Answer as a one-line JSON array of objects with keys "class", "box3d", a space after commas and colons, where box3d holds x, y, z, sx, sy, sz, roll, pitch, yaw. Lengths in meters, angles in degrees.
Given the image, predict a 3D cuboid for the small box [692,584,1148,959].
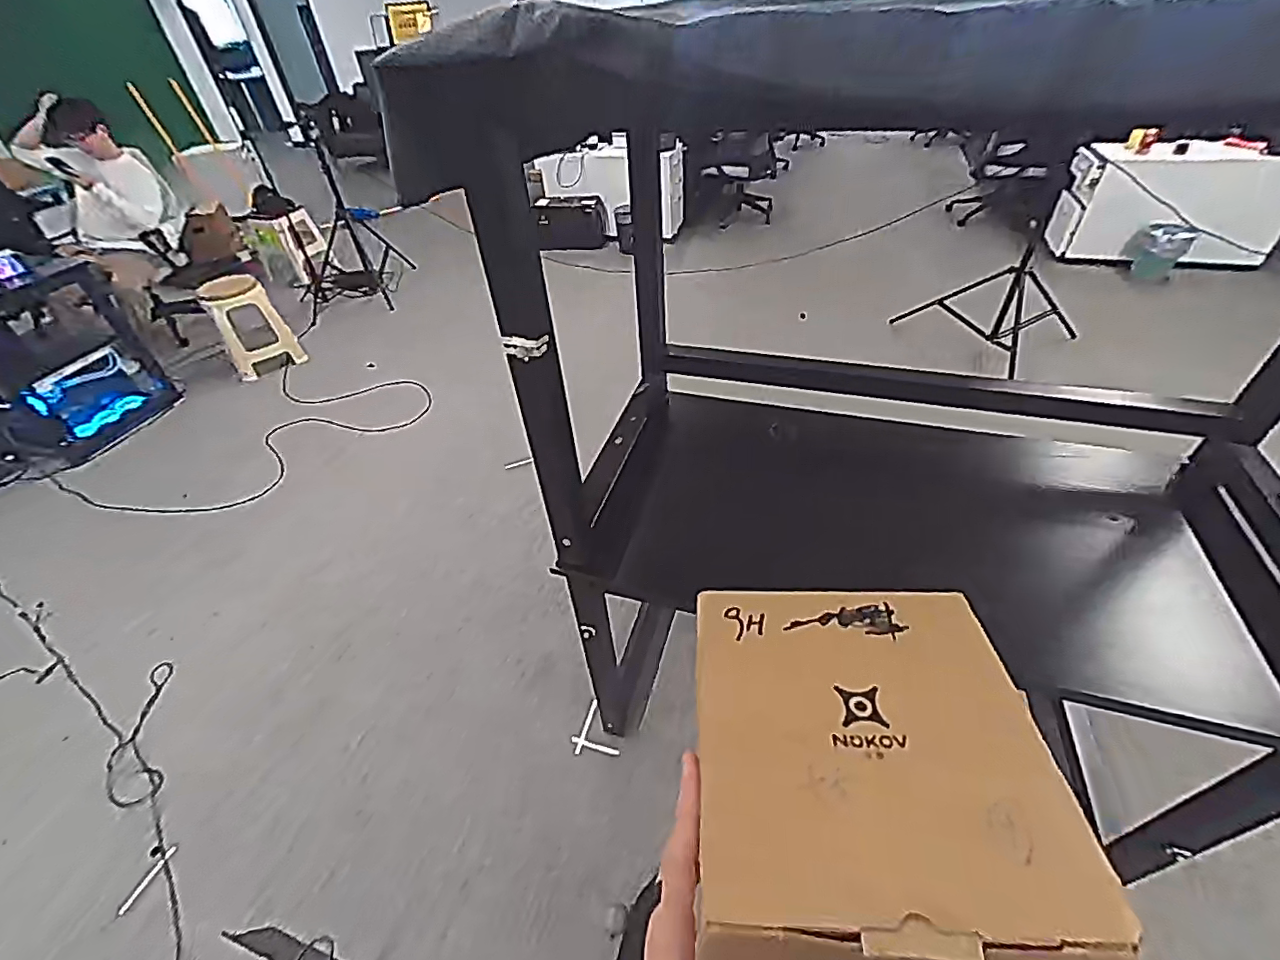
[{"class": "small box", "box3d": [0.116, 0.182, 0.317, 0.168, 0.176, 0.179, 0, 39, 4]}]
